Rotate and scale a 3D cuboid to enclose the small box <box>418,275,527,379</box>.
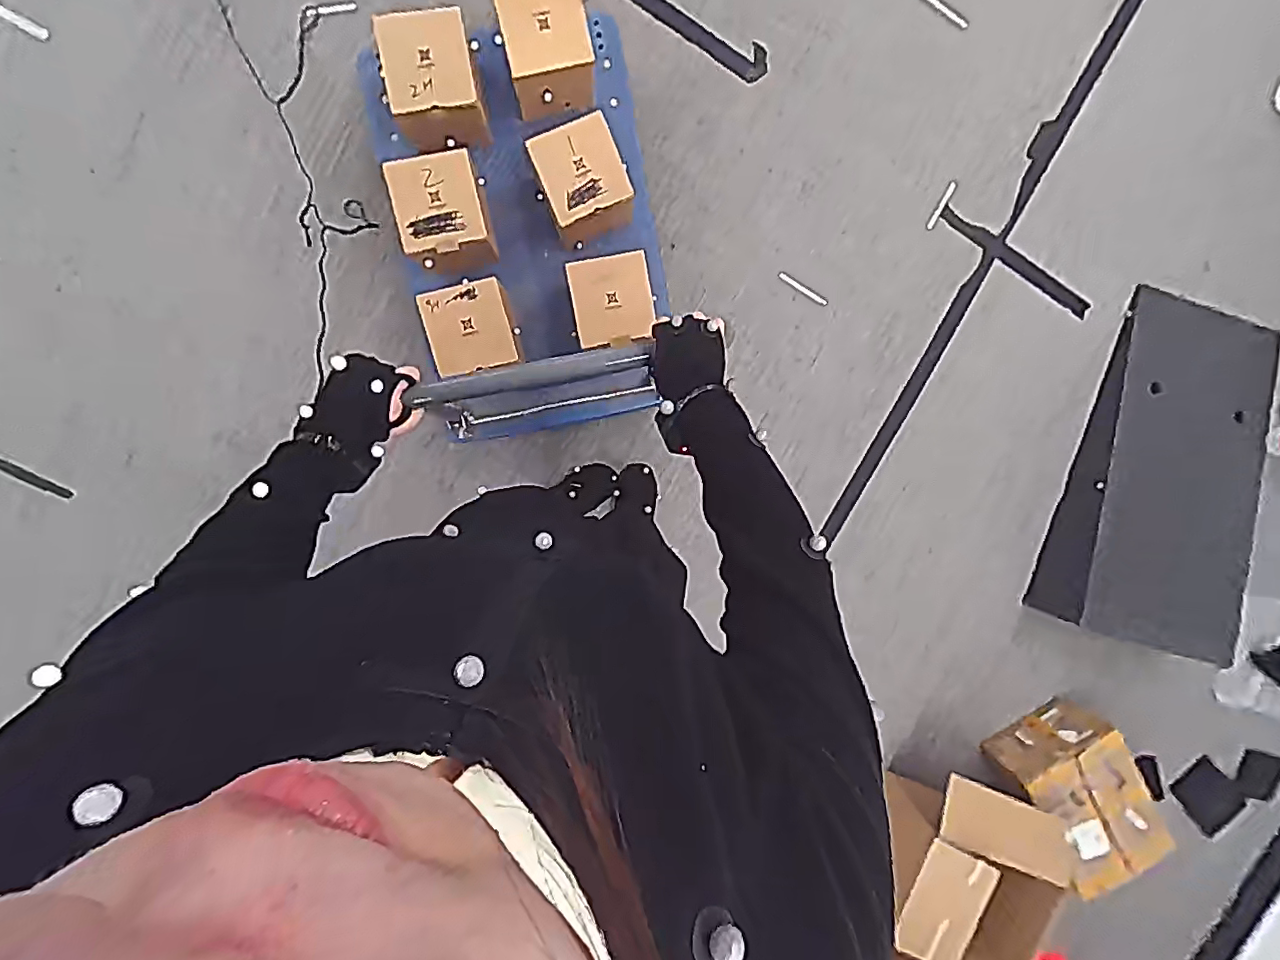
[{"bbox_3d":[-0.350,-0.322,1.170,0.168,0.176,0.179,-15,99,-4],"label":"small box"}]

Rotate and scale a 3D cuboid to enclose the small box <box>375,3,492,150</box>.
[{"bbox_3d":[-0.411,-0.812,1.104,0.168,0.176,0.179,-10,99,-3],"label":"small box"}]

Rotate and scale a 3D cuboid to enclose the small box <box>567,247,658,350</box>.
[{"bbox_3d":[-0.060,-0.388,1.189,0.168,0.176,0.179,-11,97,-4],"label":"small box"}]

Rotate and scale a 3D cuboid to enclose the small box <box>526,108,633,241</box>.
[{"bbox_3d":[-0.123,-0.634,1.152,0.168,0.176,0.179,-24,98,-2],"label":"small box"}]

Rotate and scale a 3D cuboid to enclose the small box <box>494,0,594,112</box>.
[{"bbox_3d":[-0.192,-0.895,1.114,0.168,0.176,0.179,-14,98,-3],"label":"small box"}]
